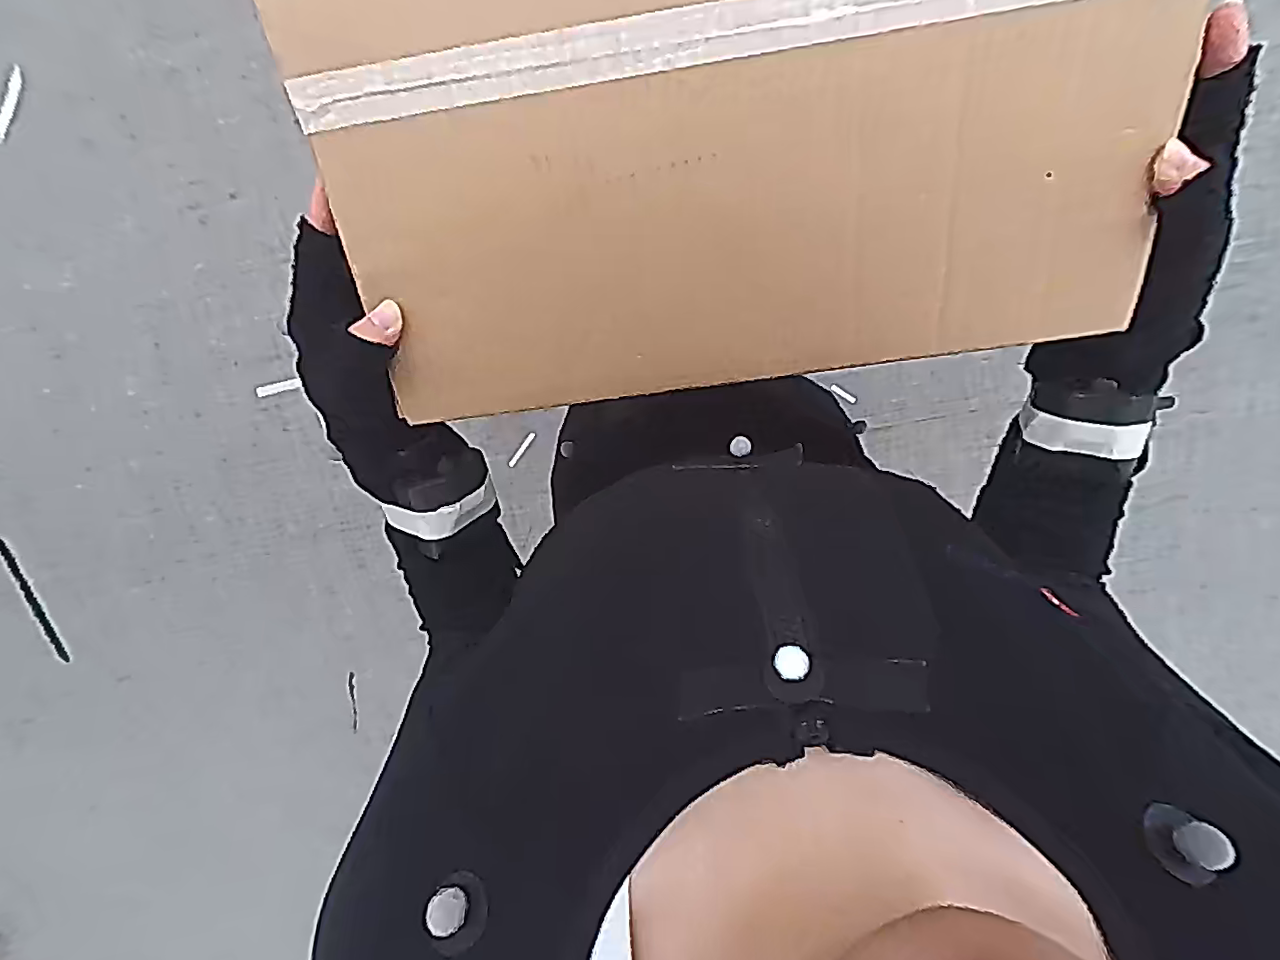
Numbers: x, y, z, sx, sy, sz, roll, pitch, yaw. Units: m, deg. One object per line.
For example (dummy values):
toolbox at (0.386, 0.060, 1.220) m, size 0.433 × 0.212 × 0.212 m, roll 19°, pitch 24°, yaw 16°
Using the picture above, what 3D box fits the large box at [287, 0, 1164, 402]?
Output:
large box at (0.038, -0.271, 0.387) m, size 0.408 × 0.320 × 0.320 m, roll -7°, pitch 115°, yaw 3°
